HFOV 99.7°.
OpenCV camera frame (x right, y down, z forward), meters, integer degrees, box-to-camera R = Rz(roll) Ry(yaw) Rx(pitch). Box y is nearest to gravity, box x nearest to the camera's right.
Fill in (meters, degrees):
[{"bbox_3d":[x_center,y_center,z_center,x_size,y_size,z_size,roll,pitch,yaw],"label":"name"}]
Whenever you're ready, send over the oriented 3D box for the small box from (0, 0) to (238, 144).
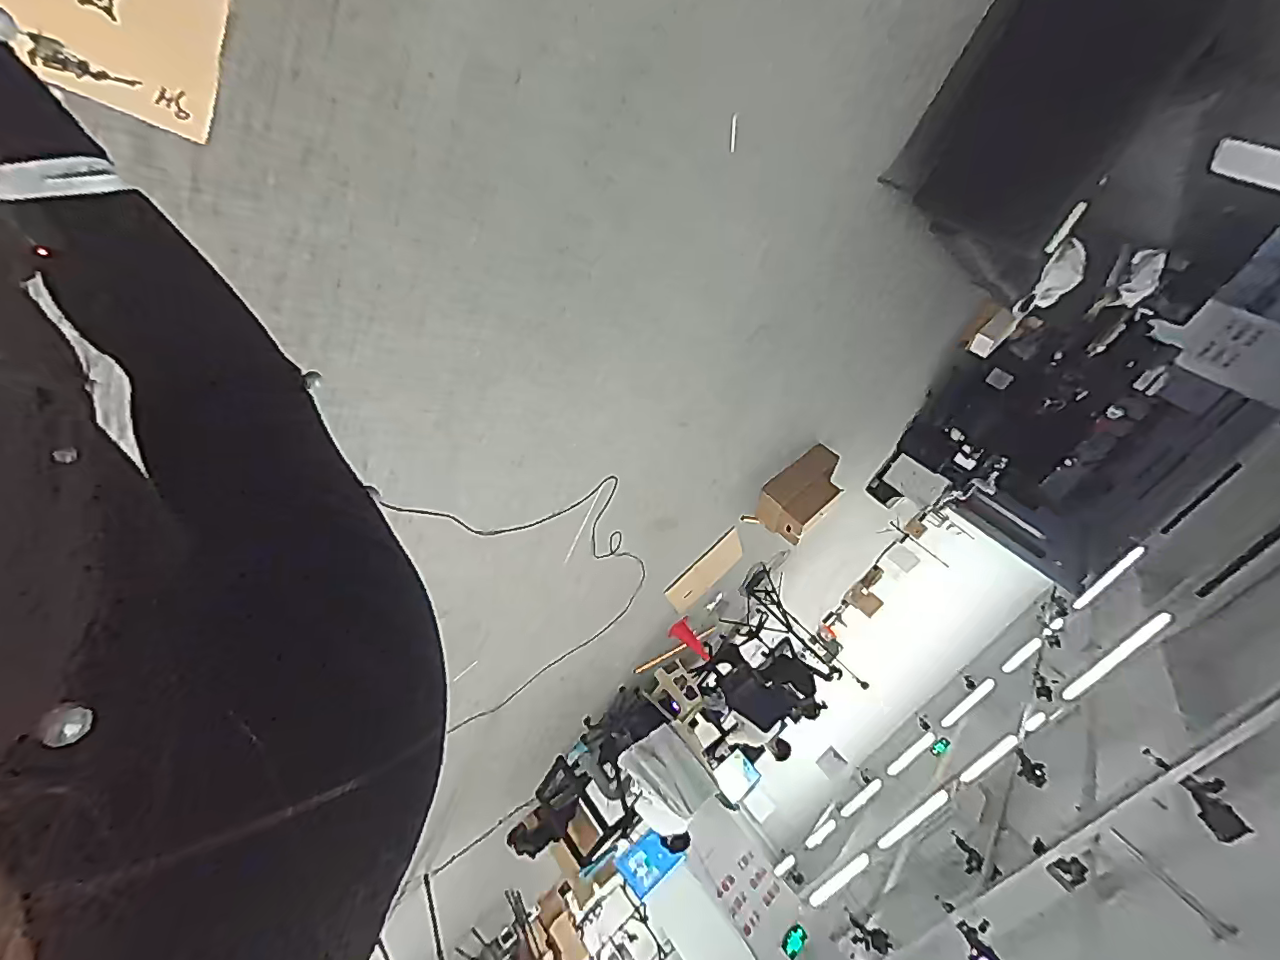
[{"bbox_3d":[-0.482,-0.444,0.472,0.168,0.176,0.179,0,125,-54],"label":"small box"}]
